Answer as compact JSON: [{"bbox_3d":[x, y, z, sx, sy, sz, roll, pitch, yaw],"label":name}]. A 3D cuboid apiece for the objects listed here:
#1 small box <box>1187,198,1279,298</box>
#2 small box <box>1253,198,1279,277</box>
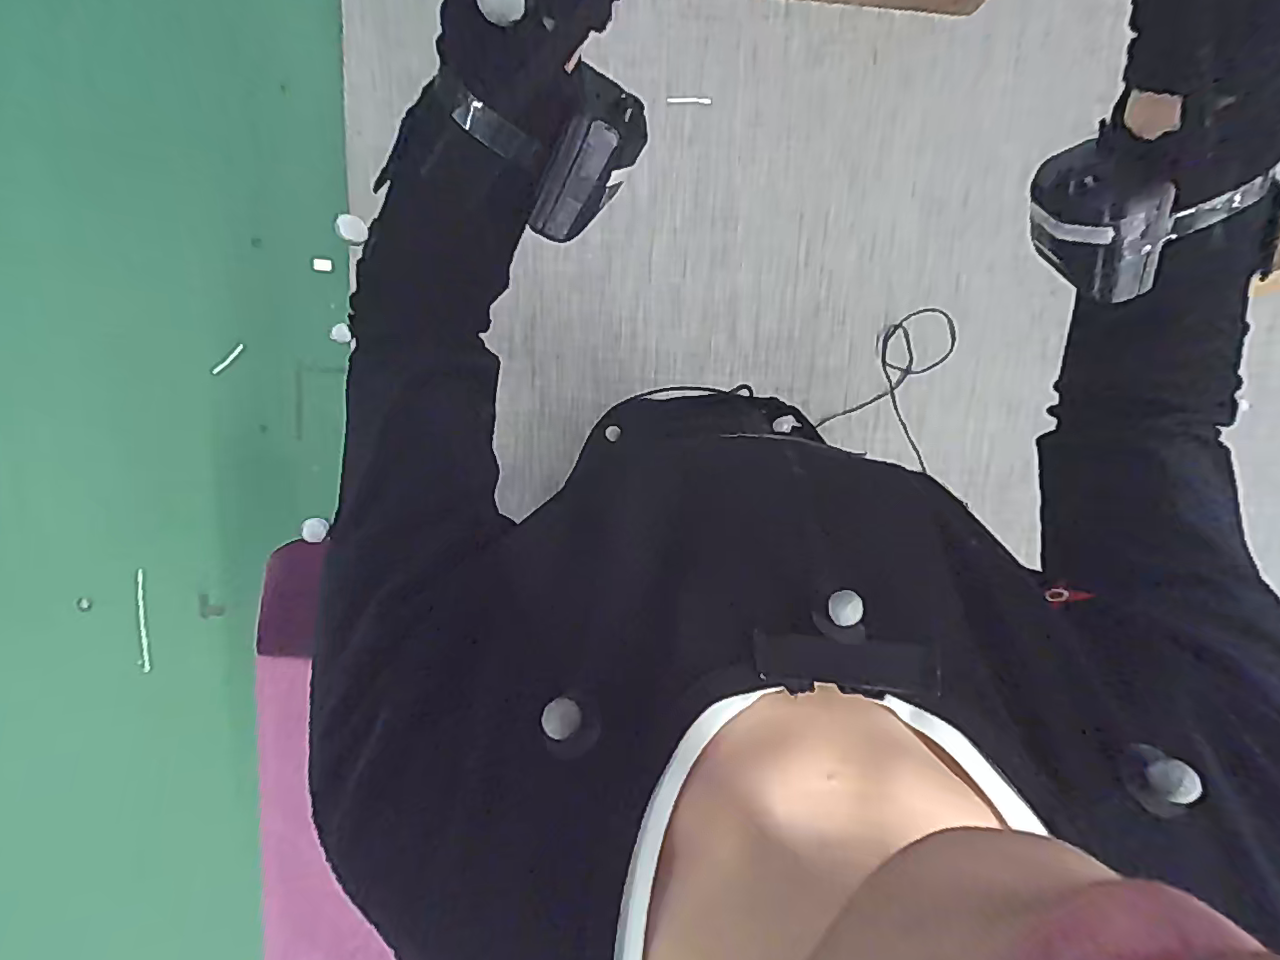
[{"bbox_3d":[1.454,-0.538,1.270,0.168,0.176,0.179,2,97,2],"label":"small box"},{"bbox_3d":[1.447,-0.518,1.107,0.179,0.176,0.168,2,97,1],"label":"small box"}]
